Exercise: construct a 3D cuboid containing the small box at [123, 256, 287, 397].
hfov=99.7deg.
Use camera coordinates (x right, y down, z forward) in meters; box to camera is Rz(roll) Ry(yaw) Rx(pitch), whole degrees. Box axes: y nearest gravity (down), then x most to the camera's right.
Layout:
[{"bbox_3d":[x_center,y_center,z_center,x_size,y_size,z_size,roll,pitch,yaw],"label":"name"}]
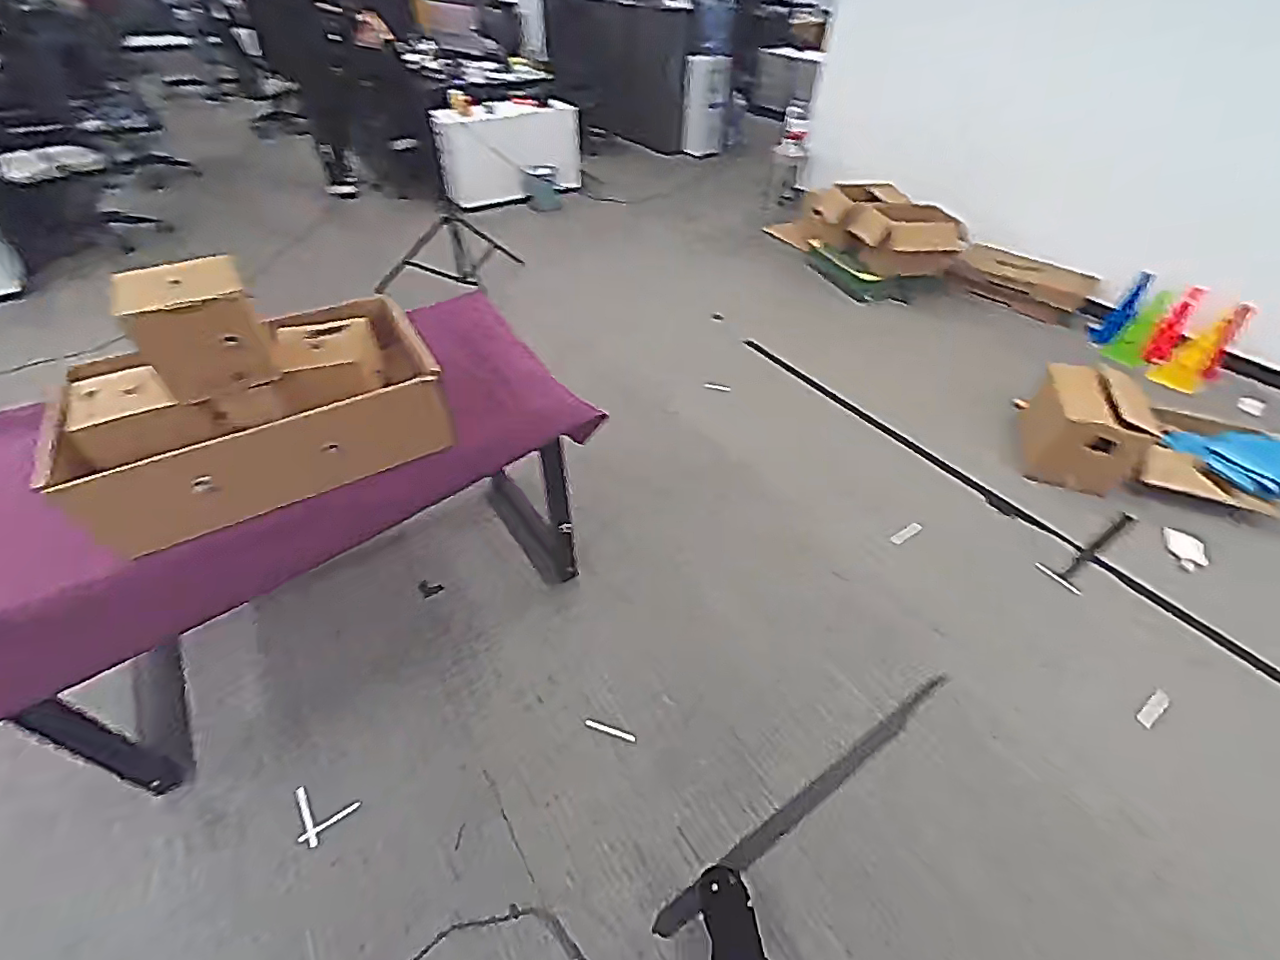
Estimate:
[{"bbox_3d":[-0.746,-0.262,0.939,0.168,0.176,0.179,-24,49,-25],"label":"small box"}]
